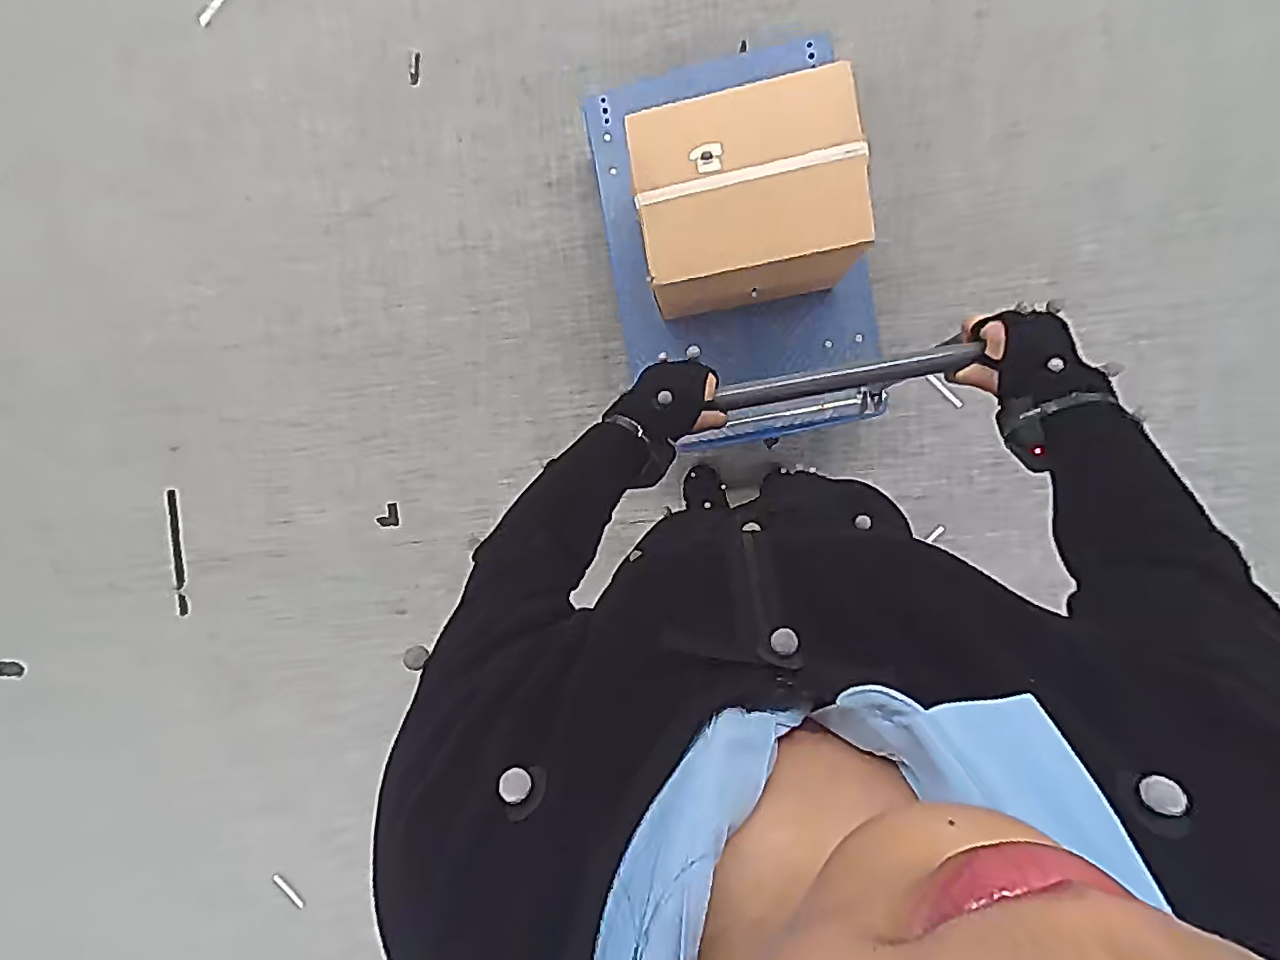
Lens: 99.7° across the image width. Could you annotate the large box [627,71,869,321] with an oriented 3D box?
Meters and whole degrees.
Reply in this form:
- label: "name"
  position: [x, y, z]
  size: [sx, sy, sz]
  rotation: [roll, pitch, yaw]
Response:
- label: "large box"
  position: [0.214, -0.554, 1.138]
  size: [0.408, 0.320, 0.320]
  rotation: [-10, 92, 8]
